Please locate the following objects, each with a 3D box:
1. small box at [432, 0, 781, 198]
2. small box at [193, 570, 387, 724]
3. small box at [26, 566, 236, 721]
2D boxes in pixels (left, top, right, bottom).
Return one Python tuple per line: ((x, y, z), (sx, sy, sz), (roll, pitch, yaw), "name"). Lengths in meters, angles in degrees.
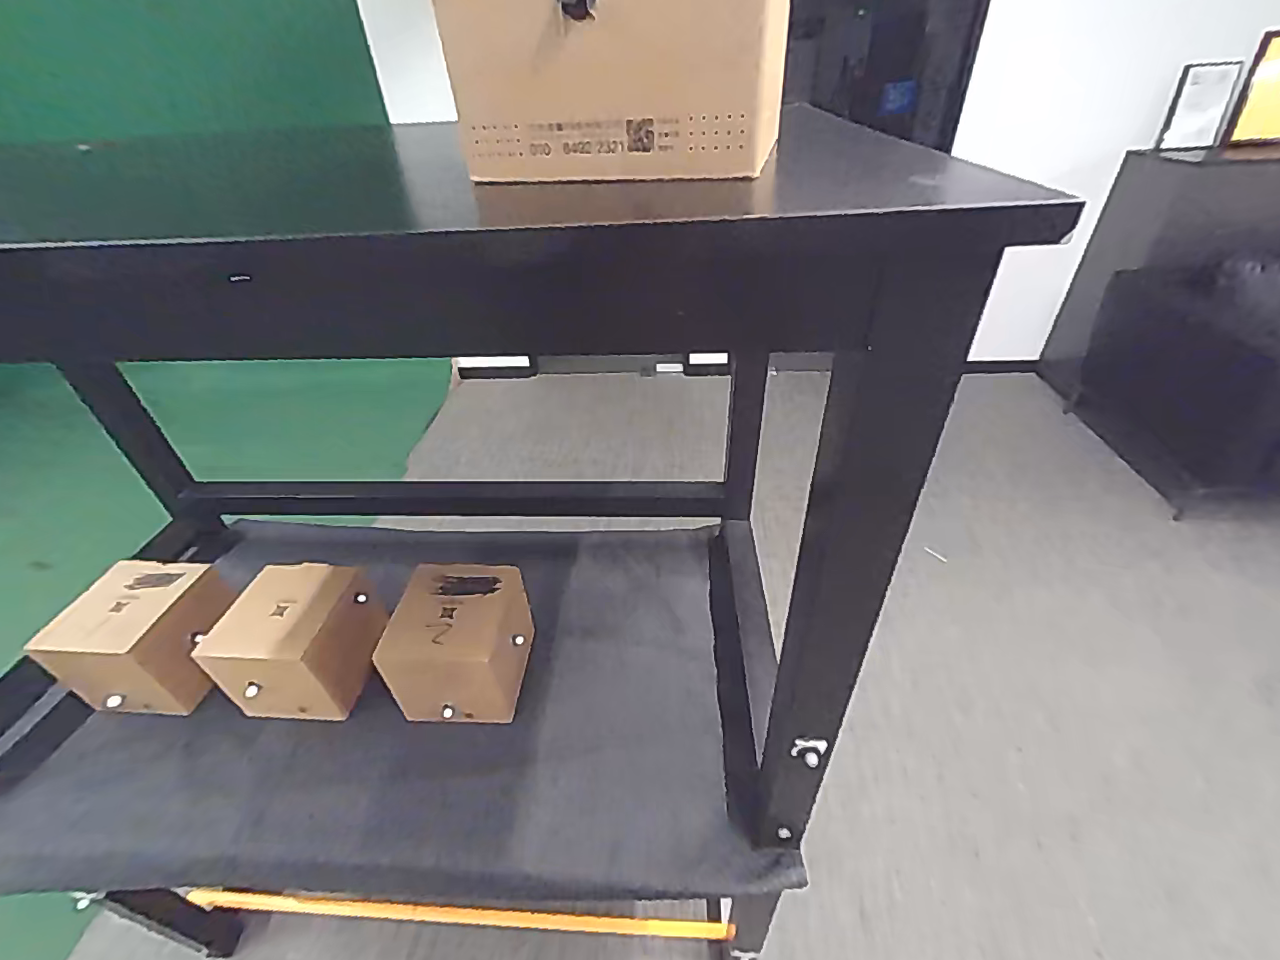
((-0.006, -0.271, 0.316), (0.168, 0.176, 0.179), (7, 38, 13), "small box")
((-0.535, 0.265, 0.861), (0.168, 0.176, 0.179), (1, 37, 4), "small box")
((-0.787, 0.262, 0.878), (0.168, 0.176, 0.179), (1, 38, 5), "small box")
